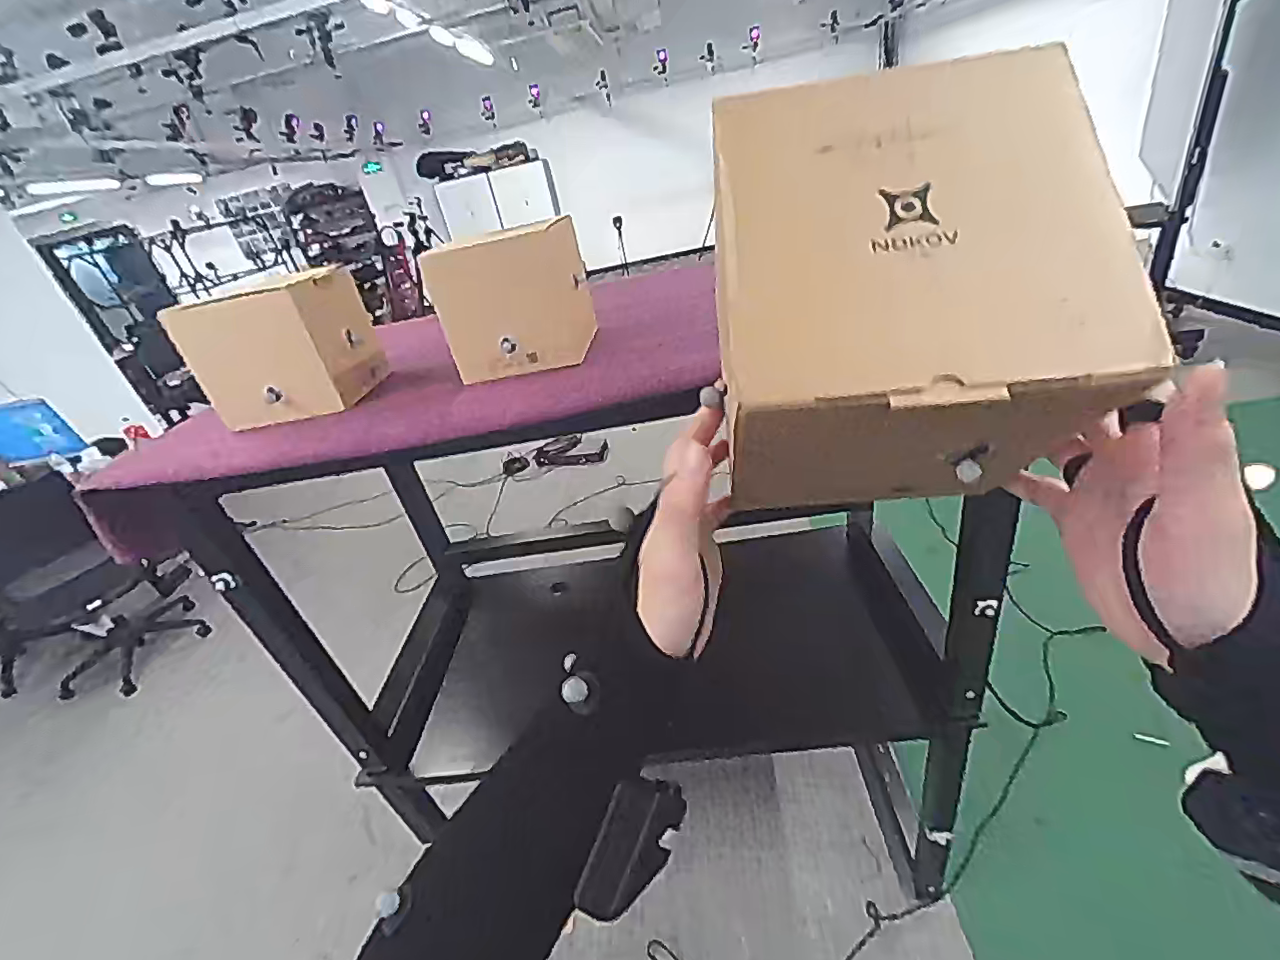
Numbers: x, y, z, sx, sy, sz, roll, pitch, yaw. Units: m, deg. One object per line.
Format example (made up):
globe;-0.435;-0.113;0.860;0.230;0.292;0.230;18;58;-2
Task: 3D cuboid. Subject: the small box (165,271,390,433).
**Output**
small box;-0.494;-0.184;0.773;0.179;0.176;0.168;-10;29;5

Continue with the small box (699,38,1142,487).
small box;0.124;-0.098;0.318;0.168;0.176;0.179;-4;72;8
